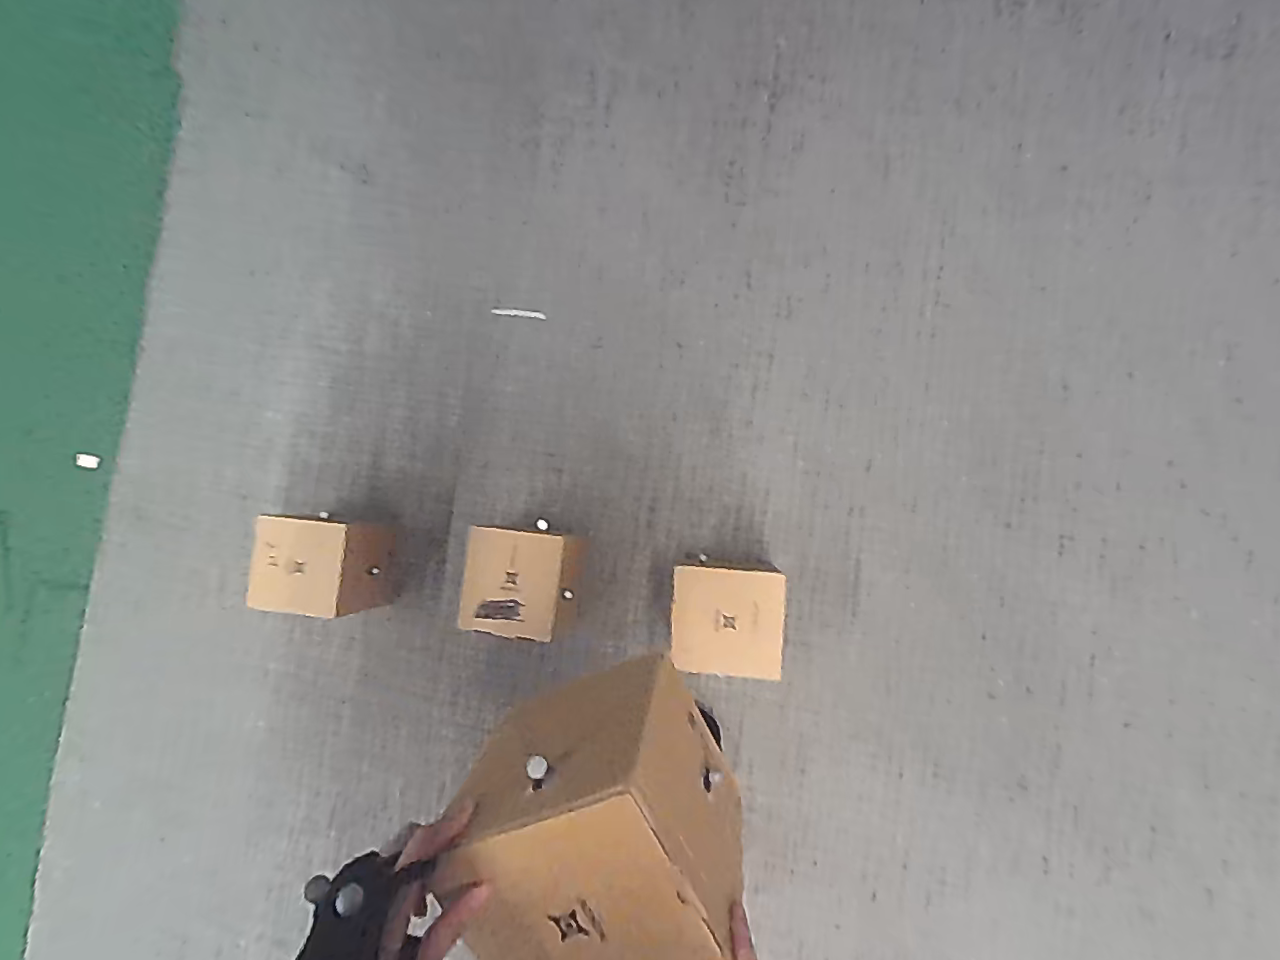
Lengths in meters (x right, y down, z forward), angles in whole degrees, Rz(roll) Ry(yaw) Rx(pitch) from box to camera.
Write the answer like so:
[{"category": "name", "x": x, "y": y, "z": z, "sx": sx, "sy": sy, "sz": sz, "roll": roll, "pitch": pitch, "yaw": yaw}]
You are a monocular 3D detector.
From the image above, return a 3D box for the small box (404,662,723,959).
[{"category": "small box", "x": -0.042, "y": 0.283, "z": 0.442, "sx": 0.179, "sy": 0.176, "sz": 0.168, "roll": -26, "pitch": 97, "yaw": 14}]

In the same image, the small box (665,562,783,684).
[{"category": "small box", "x": 0.143, "y": 0.234, "z": 0.928, "sx": 0.179, "sy": 0.176, "sz": 0.168, "roll": 4, "pitch": 87, "yaw": 8}]

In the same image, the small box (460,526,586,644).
[{"category": "small box", "x": -0.202, "y": 0.181, "z": 0.981, "sx": 0.168, "sy": 0.176, "sz": 0.179, "roll": 6, "pitch": 86, "yaw": 9}]

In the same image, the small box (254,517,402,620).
[{"category": "small box", "x": -0.587, "y": 0.161, "z": 1.038, "sx": 0.179, "sy": 0.176, "sz": 0.168, "roll": 6, "pitch": 86, "yaw": 8}]
